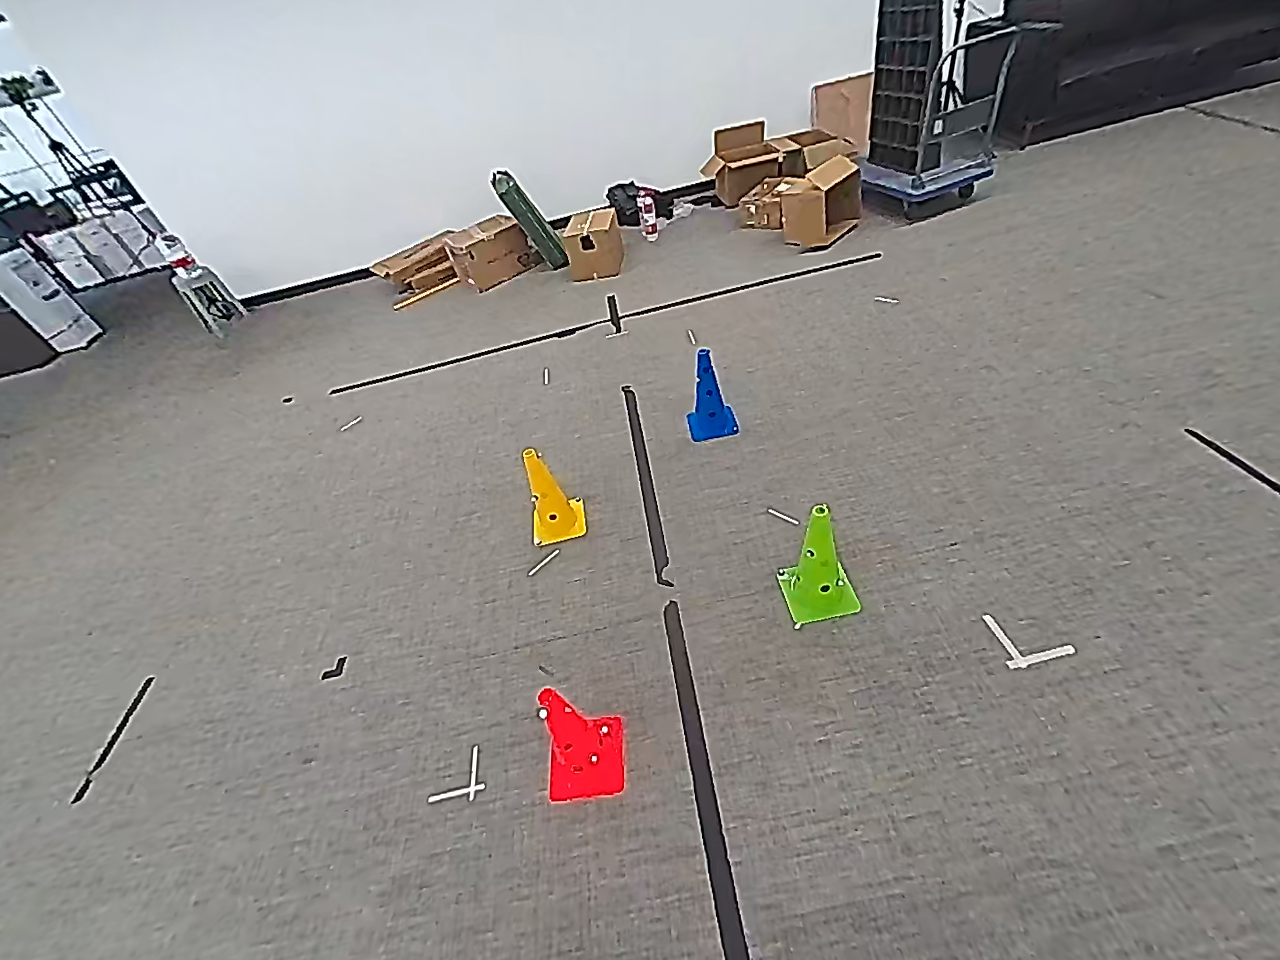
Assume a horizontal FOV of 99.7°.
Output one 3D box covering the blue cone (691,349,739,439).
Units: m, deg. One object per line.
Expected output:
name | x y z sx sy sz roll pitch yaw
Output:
blue cone | 0.292 -0.363 2.213 0.192 0.380 0.193 -9 43 5

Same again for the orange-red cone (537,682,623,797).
orange-red cone | -0.178 0.592 1.304 0.199 0.360 0.198 -10 41 6

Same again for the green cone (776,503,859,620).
green cone | 0.505 0.205 1.522 0.202 0.368 0.200 -12 42 2
